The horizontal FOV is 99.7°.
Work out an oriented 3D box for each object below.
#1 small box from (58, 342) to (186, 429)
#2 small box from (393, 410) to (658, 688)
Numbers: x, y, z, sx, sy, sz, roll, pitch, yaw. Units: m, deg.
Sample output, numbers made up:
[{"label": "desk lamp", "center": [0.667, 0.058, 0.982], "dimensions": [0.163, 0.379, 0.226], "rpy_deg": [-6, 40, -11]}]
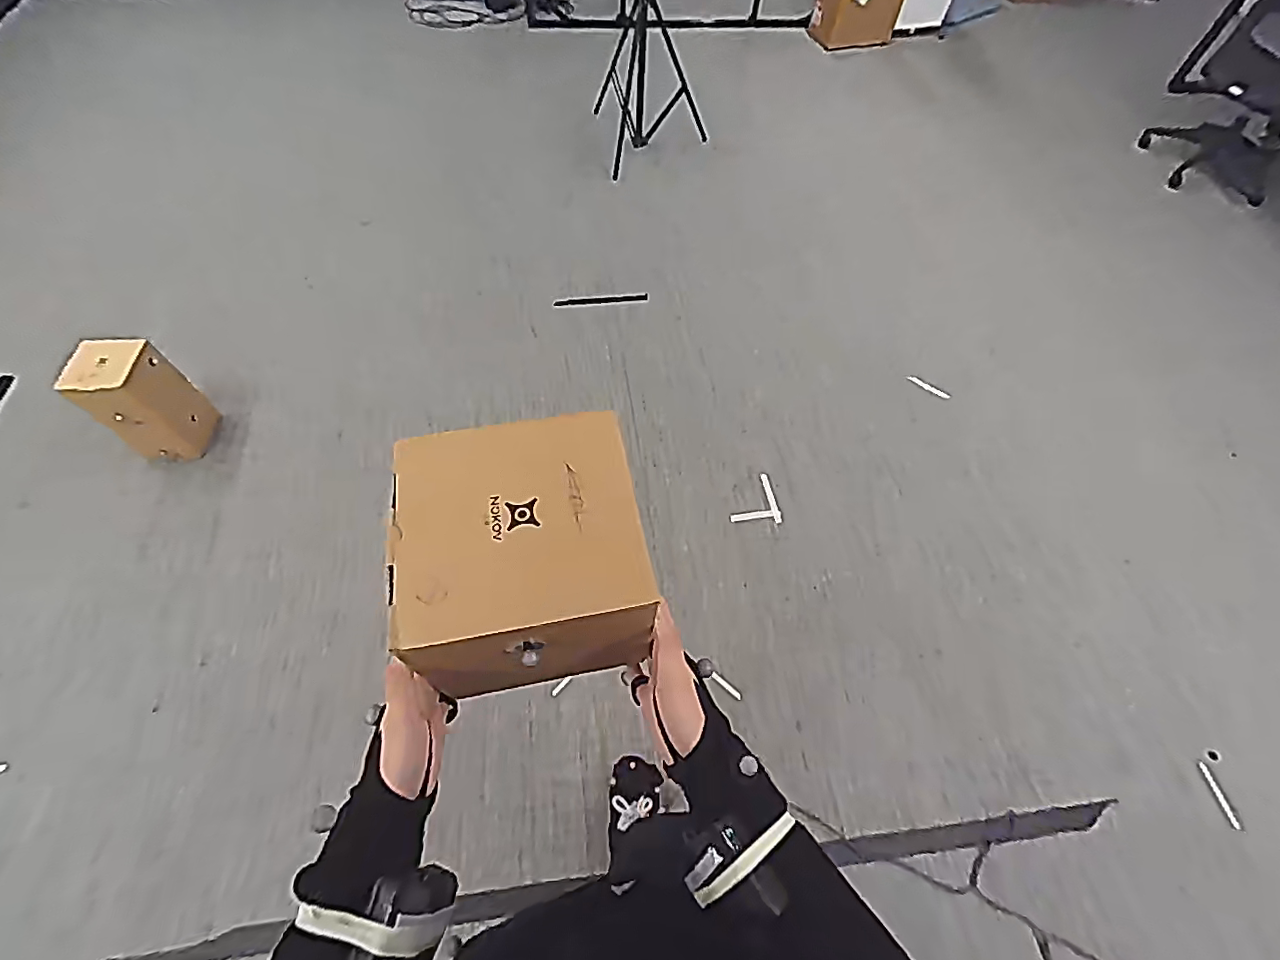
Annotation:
[{"label": "small box", "center": [-1.417, -0.260, 1.497], "dimensions": [0.168, 0.176, 0.179], "rpy_deg": [-2, 60, -3]}, {"label": "small box", "center": [-0.090, 0.065, 0.459], "dimensions": [0.179, 0.176, 0.168], "rpy_deg": [-9, 60, -9]}]
